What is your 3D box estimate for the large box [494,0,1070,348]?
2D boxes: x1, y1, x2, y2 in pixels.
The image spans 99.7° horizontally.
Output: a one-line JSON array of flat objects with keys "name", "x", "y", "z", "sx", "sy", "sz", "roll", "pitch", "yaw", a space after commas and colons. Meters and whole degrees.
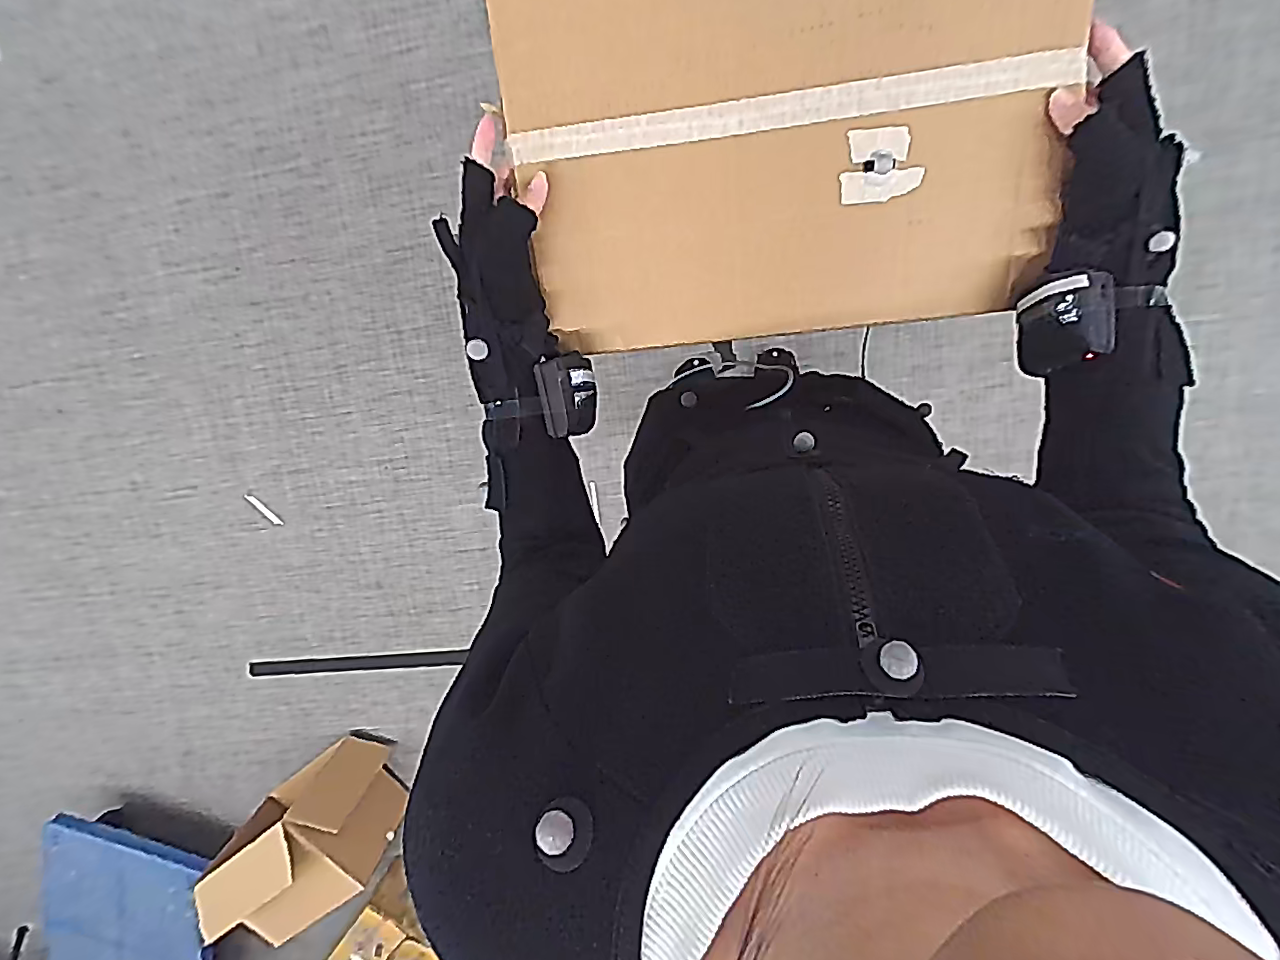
[{"name": "large box", "x": 0.109, "y": -0.325, "z": 0.542, "sx": 0.408, "sy": 0.320, "sz": 0.320, "roll": -5, "pitch": 109, "yaw": 5}]
